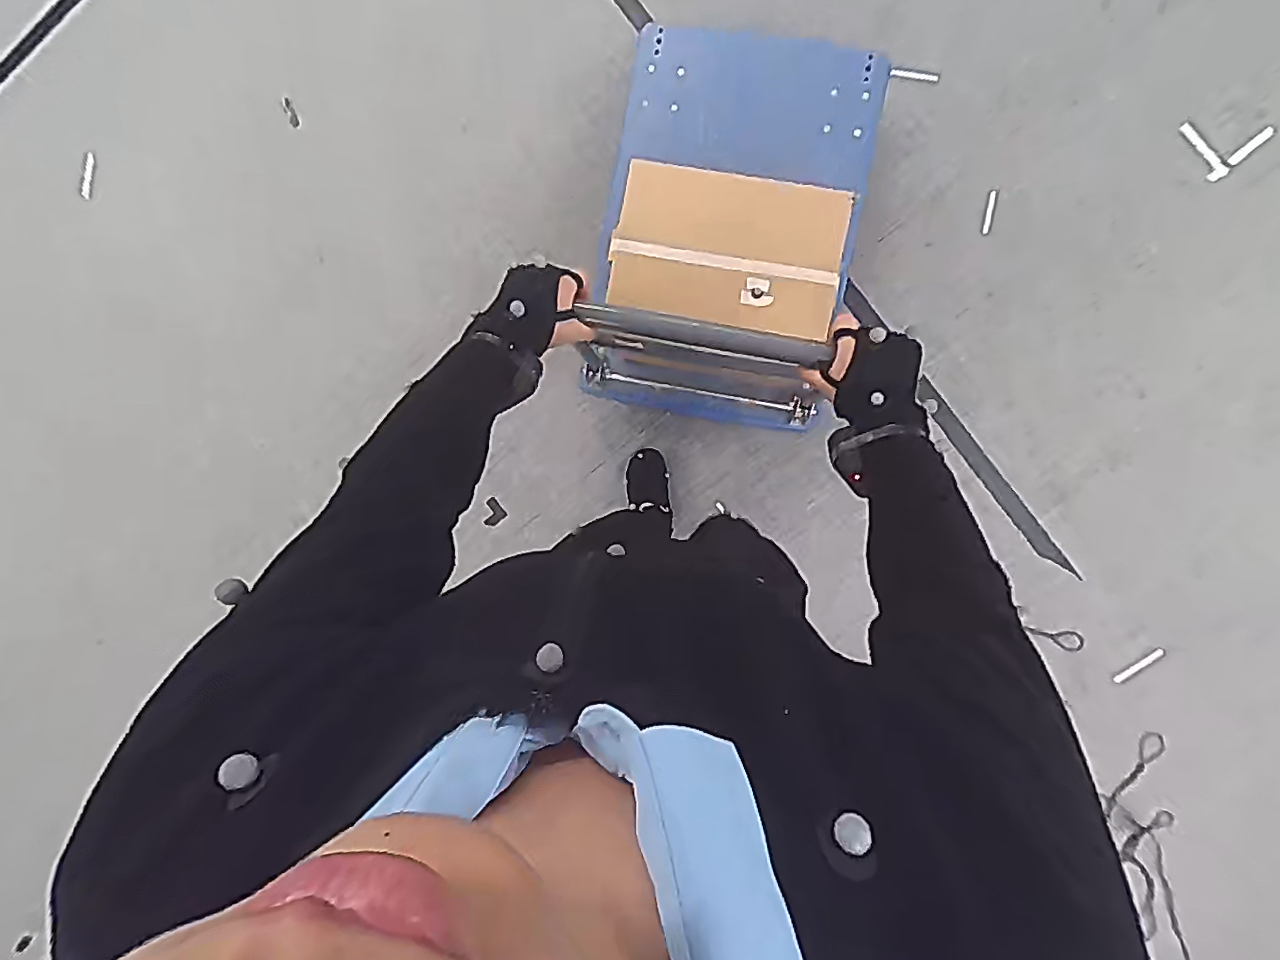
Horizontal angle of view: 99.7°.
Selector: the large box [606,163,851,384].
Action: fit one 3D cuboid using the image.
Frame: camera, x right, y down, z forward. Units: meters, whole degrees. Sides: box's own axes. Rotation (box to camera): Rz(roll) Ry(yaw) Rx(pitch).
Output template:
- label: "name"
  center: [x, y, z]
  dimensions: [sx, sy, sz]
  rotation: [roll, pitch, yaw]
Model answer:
- label: "large box"
  center: [0.162, -0.400, 1.125]
  dimensions: [0.408, 0.320, 0.320]
  rotation: [11, 94, 3]
